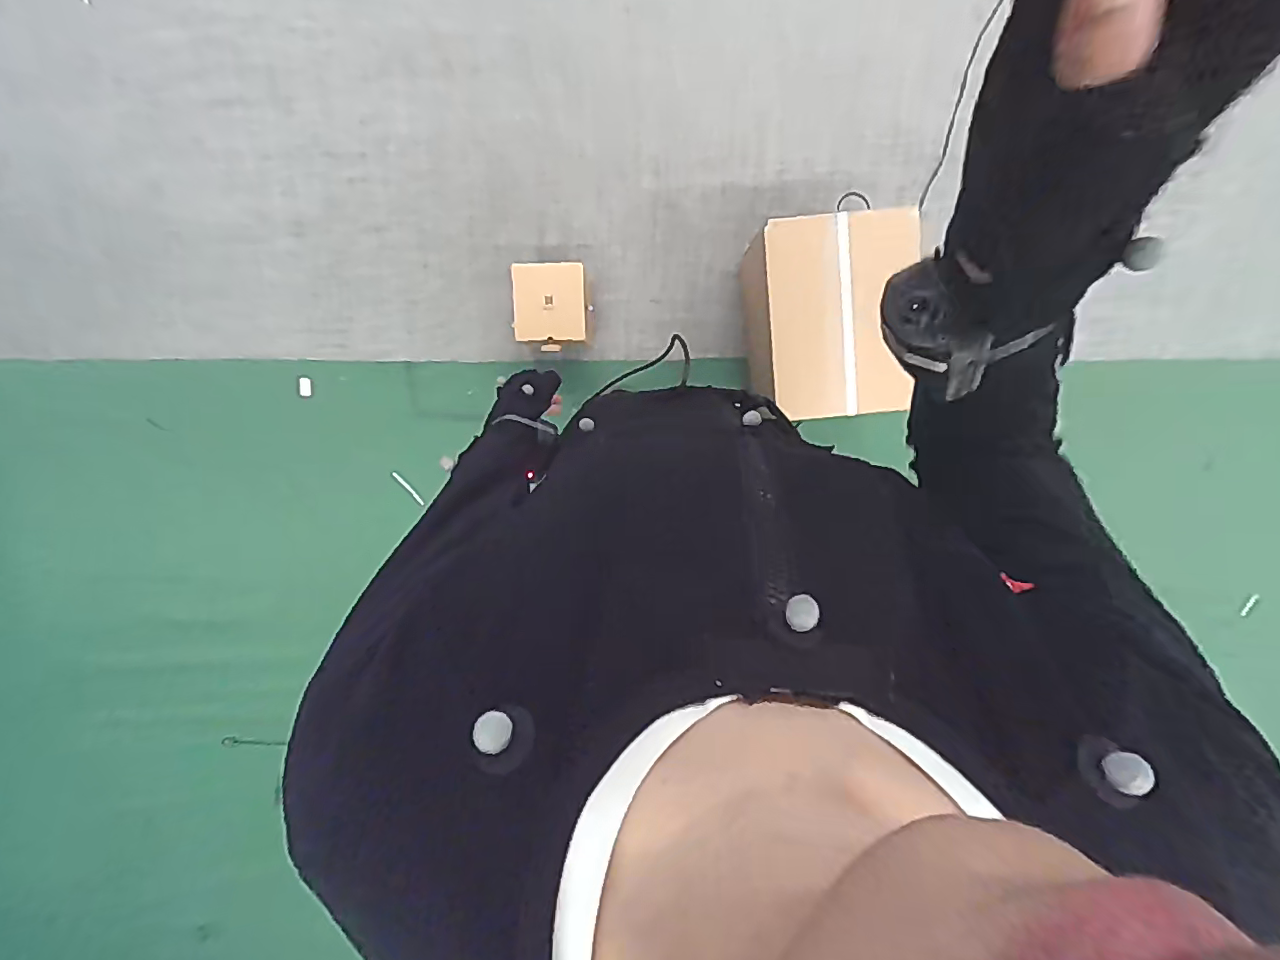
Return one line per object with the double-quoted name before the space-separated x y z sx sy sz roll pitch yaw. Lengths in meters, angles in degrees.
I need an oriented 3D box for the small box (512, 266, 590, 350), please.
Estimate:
"small box" -0.213 -0.418 1.331 0.168 0.176 0.179 -1 100 0
